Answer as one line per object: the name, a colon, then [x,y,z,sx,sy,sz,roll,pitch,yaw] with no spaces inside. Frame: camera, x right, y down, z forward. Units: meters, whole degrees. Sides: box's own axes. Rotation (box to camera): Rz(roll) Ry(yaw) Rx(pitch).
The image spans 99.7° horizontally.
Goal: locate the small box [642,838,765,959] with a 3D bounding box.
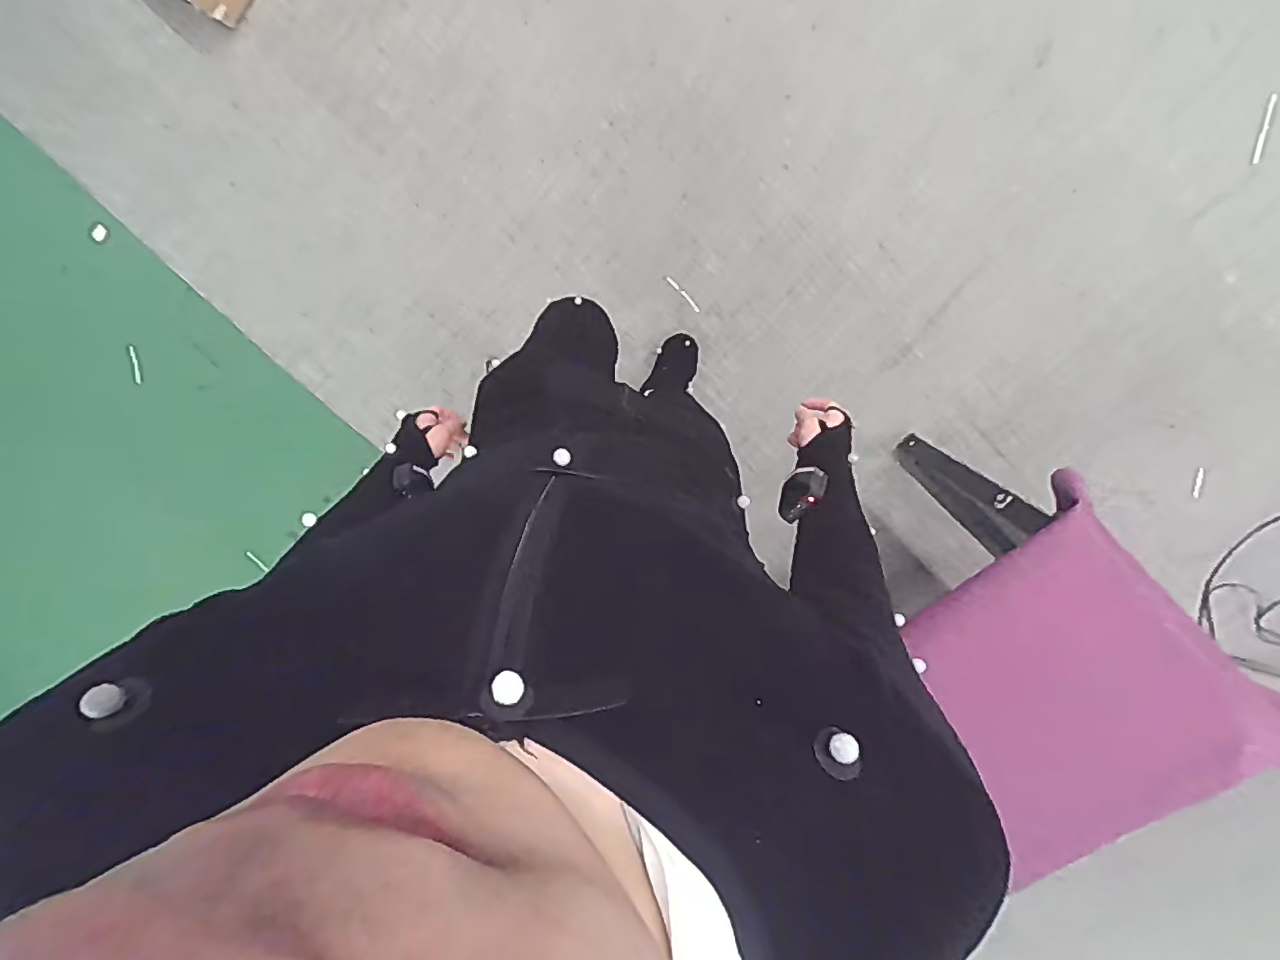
small box: [0.122,0.862,1.071,0.168,0.176,0.179,-42,102,14]
